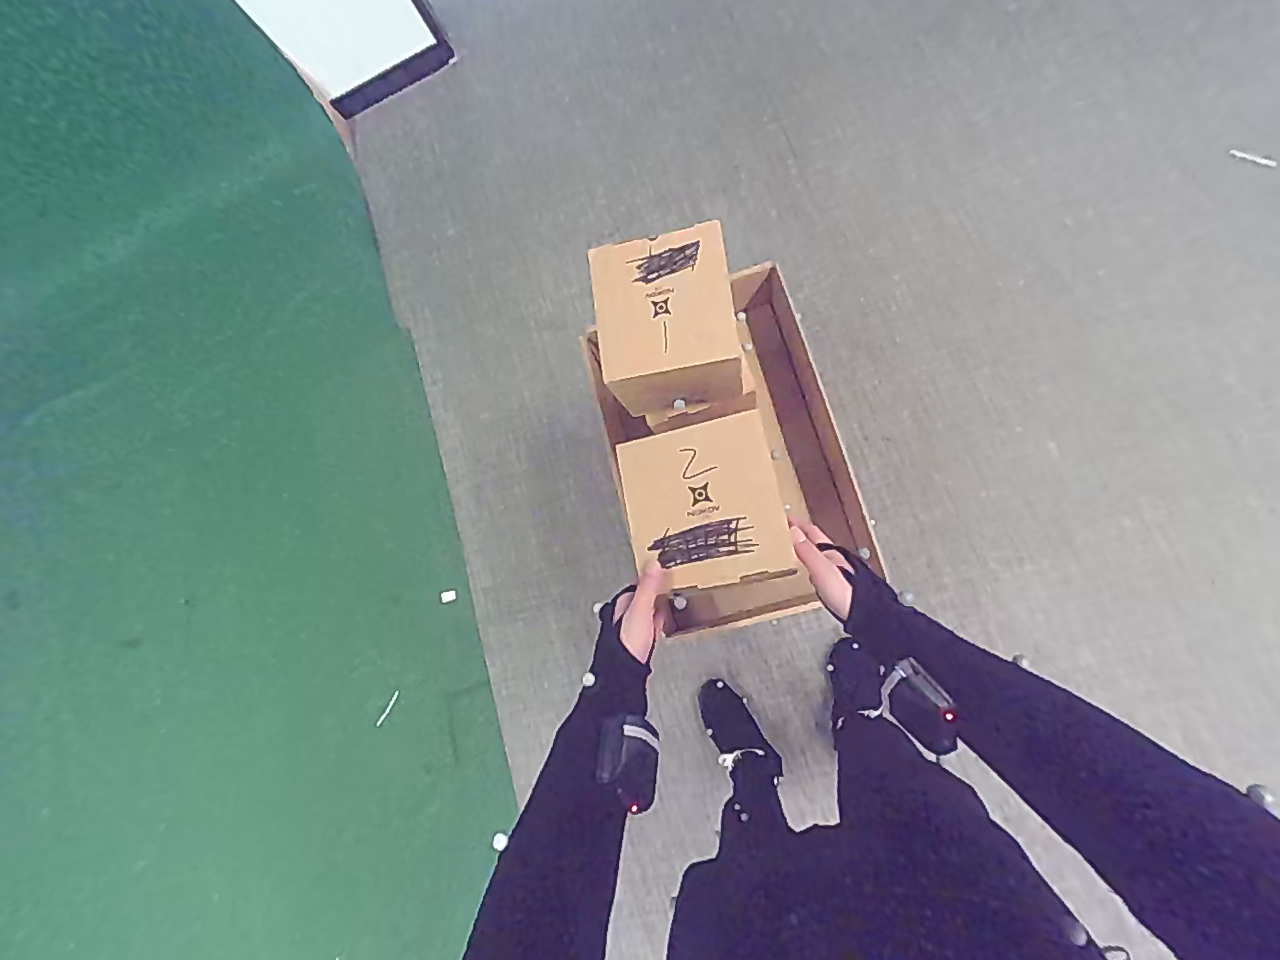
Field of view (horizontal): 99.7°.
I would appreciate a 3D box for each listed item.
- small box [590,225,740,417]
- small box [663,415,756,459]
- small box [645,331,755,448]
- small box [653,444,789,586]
[{"bbox_3d":[0.040,-0.199,0.724,0.168,0.176,0.179,-9,80,11],"label":"small box"},{"bbox_3d":[0.118,-0.149,1.035,0.168,0.176,0.179,-17,79,11],"label":"small box"},{"bbox_3d":[0.081,-0.170,0.880,0.168,0.176,0.179,-18,78,9],"label":"small box"},{"bbox_3d":[0.127,0.062,0.823,0.168,0.176,0.179,-12,76,10],"label":"small box"}]
